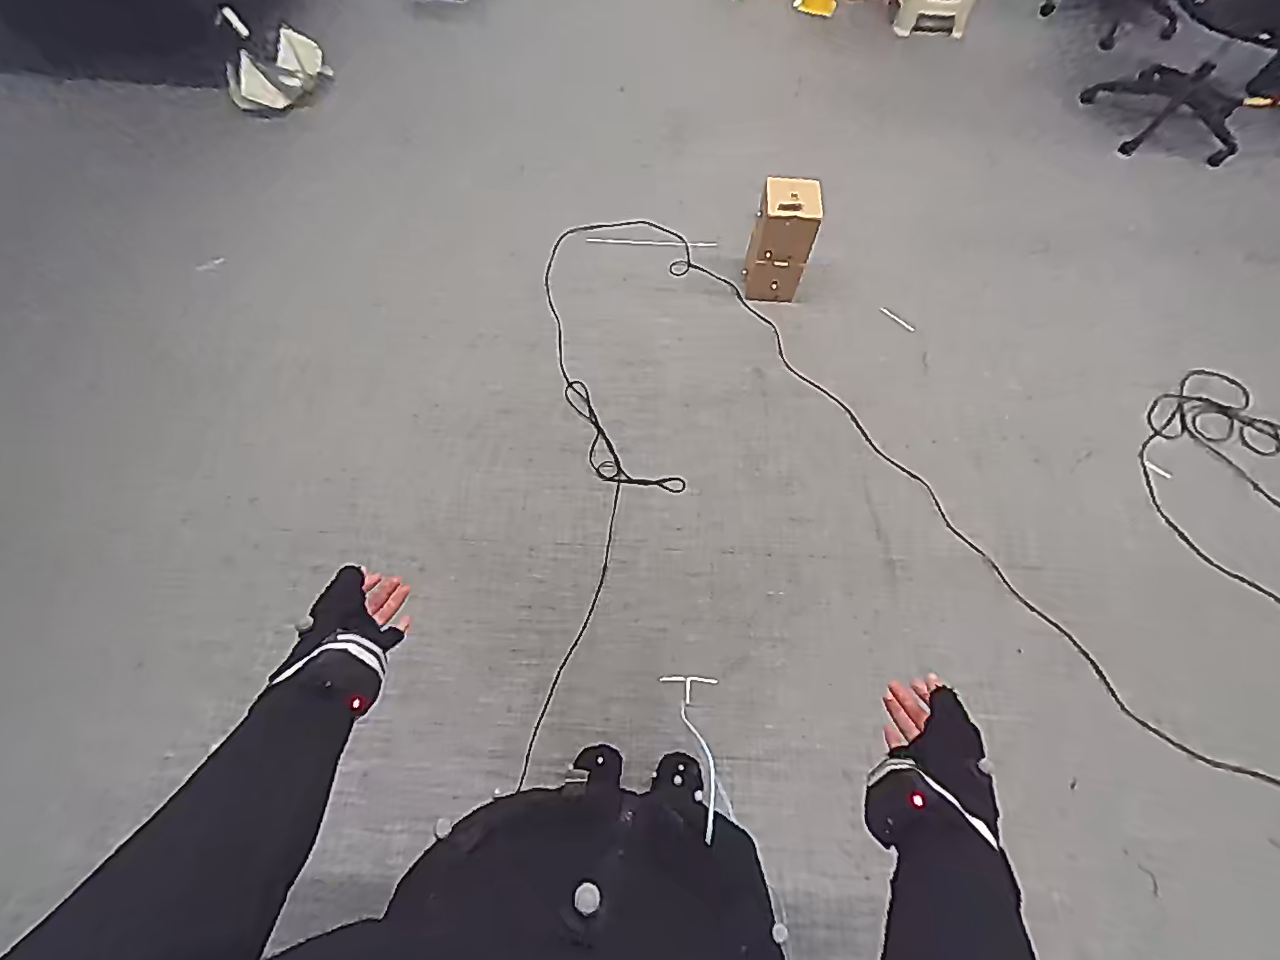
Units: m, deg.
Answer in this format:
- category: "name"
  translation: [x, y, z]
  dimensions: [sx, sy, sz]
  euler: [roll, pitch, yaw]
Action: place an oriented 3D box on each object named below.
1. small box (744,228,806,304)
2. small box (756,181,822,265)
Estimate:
- category: "small box"
  translation: [0.456, -0.728, 1.850]
  dimensions: [0.168, 0.176, 0.179]
  euler: [3, 66, -3]
- category: "small box"
  translation: [0.465, -0.803, 1.701]
  dimensions: [0.168, 0.176, 0.179]
  euler: [5, 64, 1]
